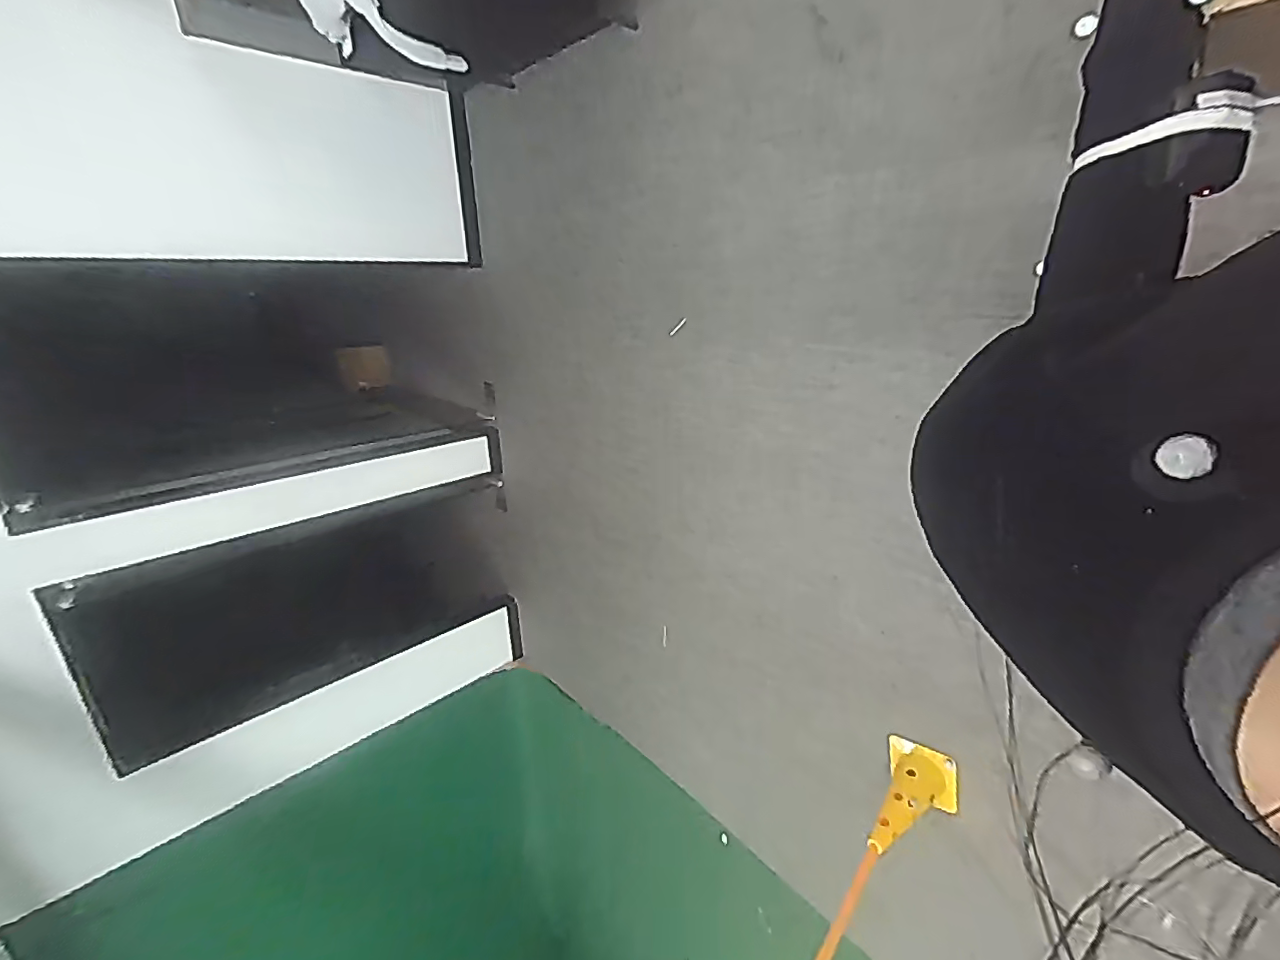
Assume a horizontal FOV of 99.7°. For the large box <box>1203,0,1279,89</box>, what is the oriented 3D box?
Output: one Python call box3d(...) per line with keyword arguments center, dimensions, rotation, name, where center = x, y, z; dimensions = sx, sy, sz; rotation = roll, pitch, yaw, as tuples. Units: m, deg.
box3d(center=(0.588, -0.438, 0.250), dimensions=(0.408, 0.320, 0.320), rotation=(16, 118, 42), name="large box")
